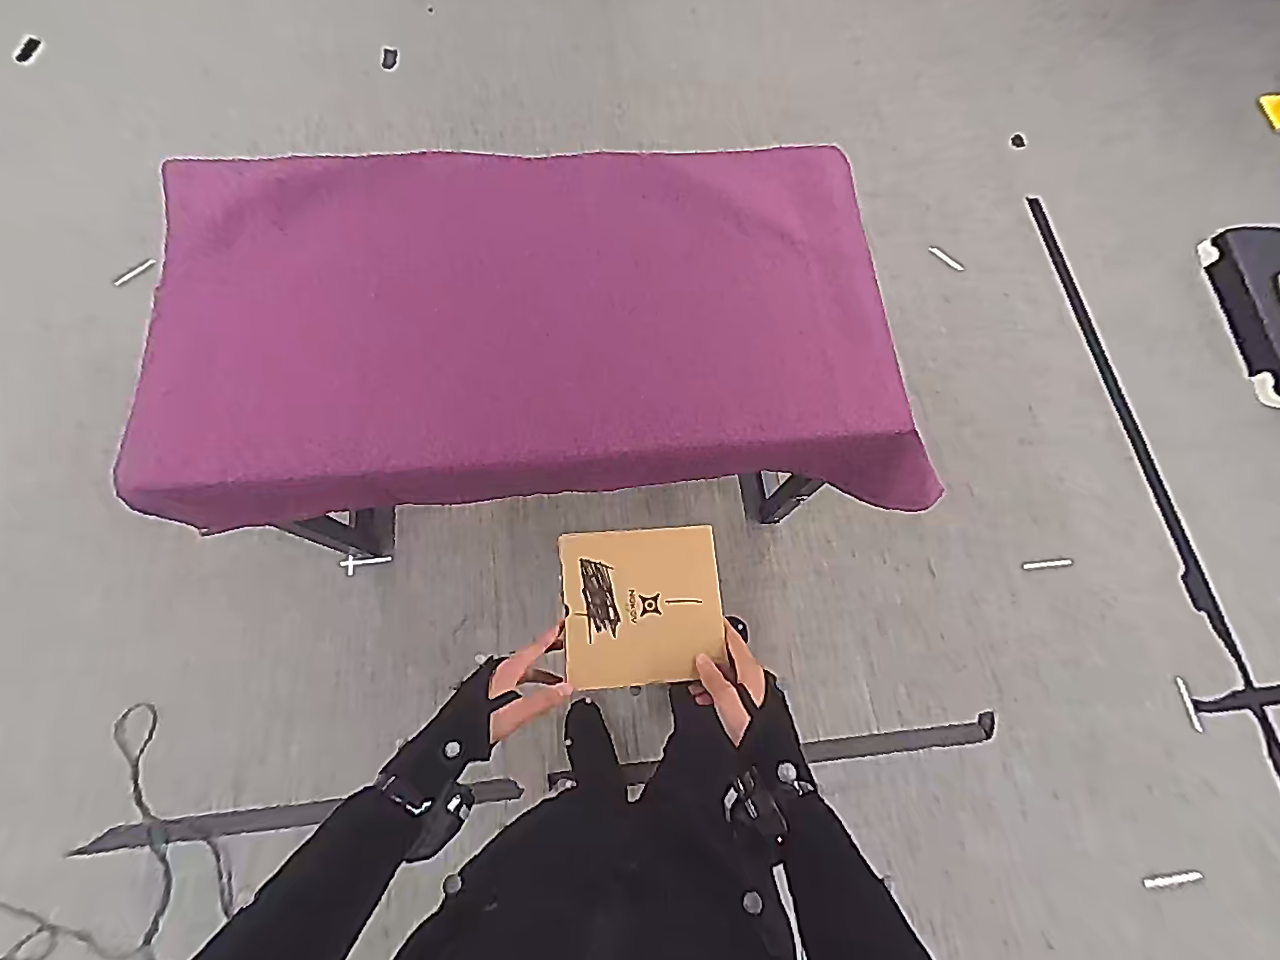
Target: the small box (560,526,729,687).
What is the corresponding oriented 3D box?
[{"bbox_3d":[-0.001,0.157,0.662,0.179,0.176,0.168,-3,74,-5],"label":"small box"}]
